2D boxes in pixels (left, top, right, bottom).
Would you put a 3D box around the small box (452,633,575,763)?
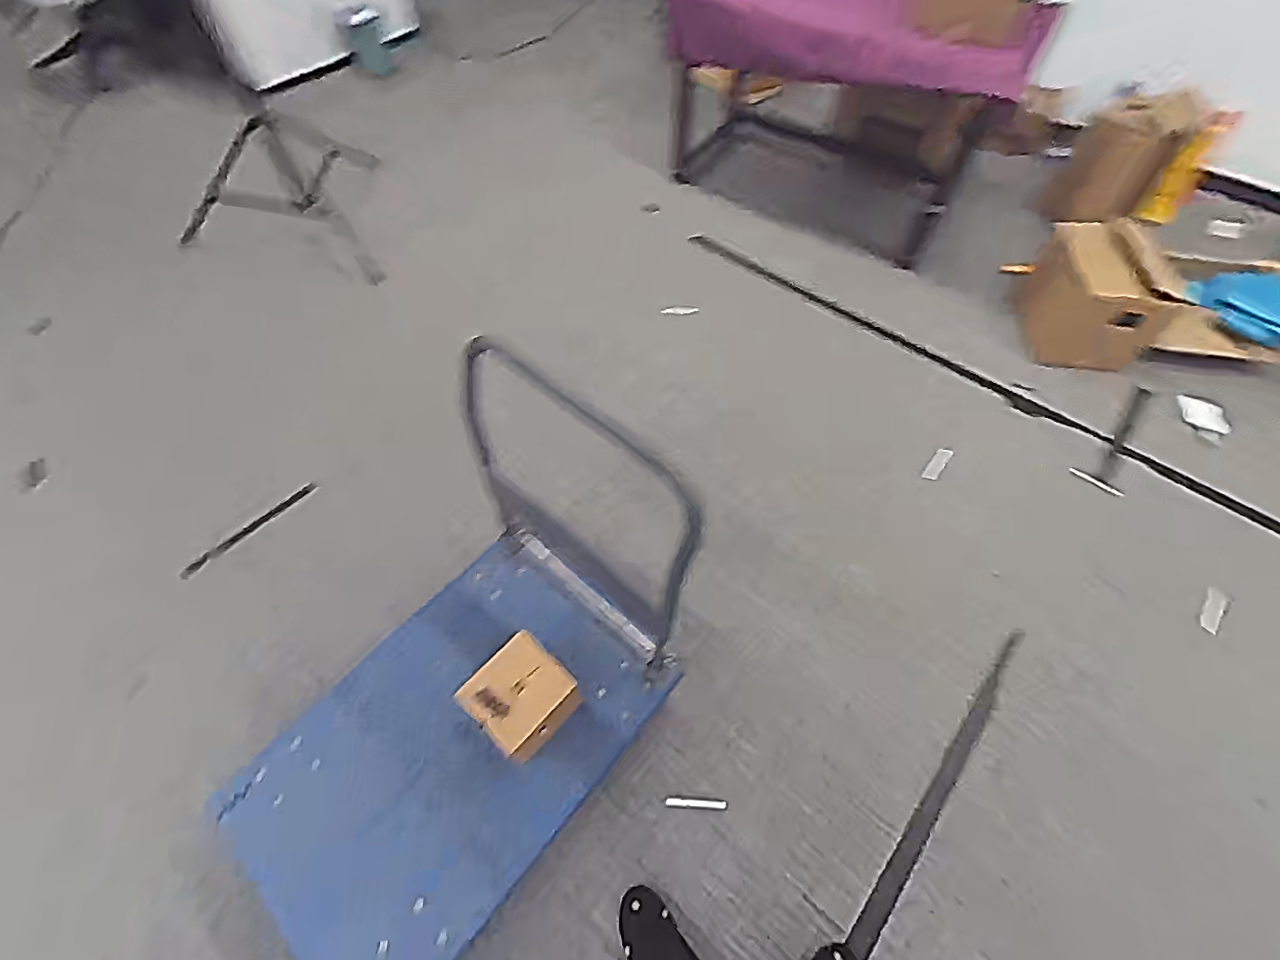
[{"bbox_3d":[-0.253,0.459,1.127,0.168,0.176,0.179,38,64,21],"label":"small box"}]
